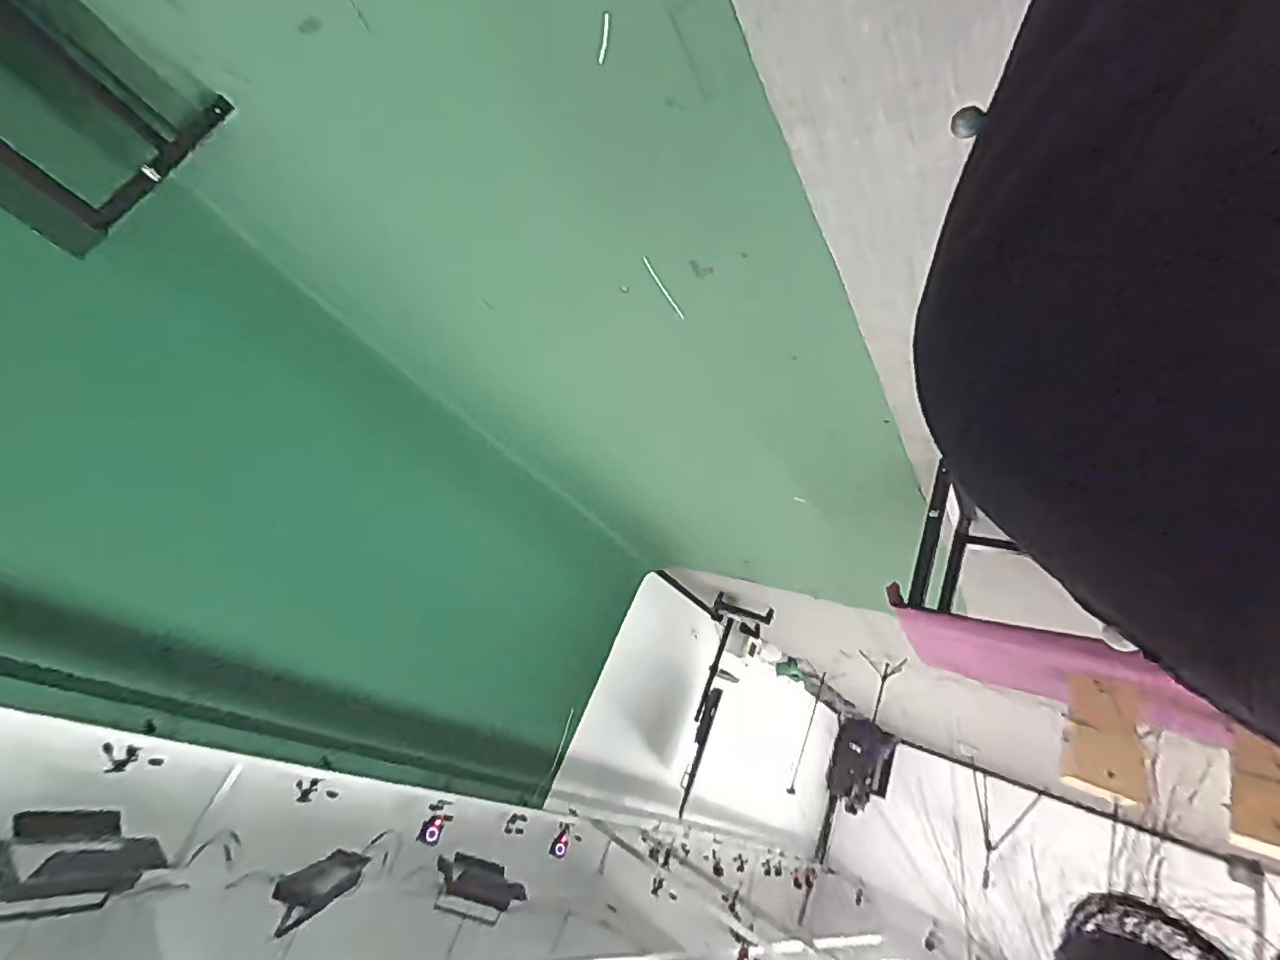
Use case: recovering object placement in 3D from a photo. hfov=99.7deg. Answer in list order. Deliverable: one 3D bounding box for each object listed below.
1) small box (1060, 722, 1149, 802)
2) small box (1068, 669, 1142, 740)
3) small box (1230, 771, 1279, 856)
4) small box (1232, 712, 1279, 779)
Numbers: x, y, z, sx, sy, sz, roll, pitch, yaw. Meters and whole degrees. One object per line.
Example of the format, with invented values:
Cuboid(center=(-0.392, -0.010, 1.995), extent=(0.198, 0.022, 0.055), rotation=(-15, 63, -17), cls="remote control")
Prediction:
Cuboid(center=(1.445, 0.876, 1.683), extent=(0.179, 0.176, 0.168), rotation=(13, 156, 30), cls="small box")
Cuboid(center=(1.504, 0.737, 1.750), extent=(0.168, 0.176, 0.179), rotation=(6, 152, 39), cls="small box")
Cuboid(center=(1.723, 0.907, 1.455), extent=(0.179, 0.176, 0.168), rotation=(1, 147, 46), cls="small box")
Cuboid(center=(1.794, 0.773, 1.511), extent=(0.179, 0.176, 0.168), rotation=(3, 150, 45), cls="small box")
